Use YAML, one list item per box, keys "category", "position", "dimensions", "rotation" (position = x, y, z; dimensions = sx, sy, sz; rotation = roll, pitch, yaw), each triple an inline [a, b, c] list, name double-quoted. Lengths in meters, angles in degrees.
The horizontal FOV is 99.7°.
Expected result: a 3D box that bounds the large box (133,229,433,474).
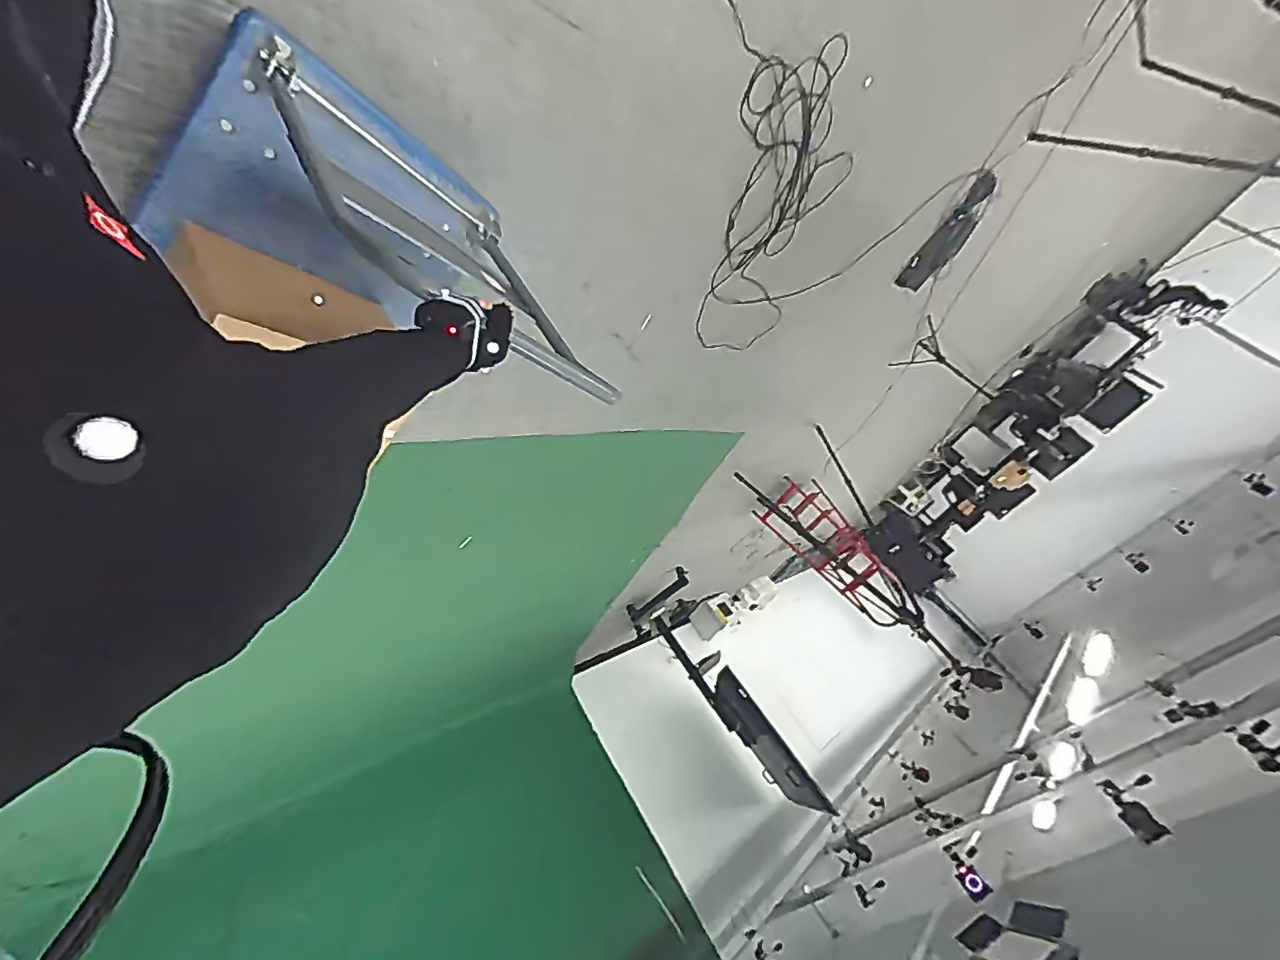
- category: "large box"
  position: [-0.743, -0.243, 1.143]
  dimensions: [0.320, 0.320, 0.408]
  rotation: [-48, 153, 18]
